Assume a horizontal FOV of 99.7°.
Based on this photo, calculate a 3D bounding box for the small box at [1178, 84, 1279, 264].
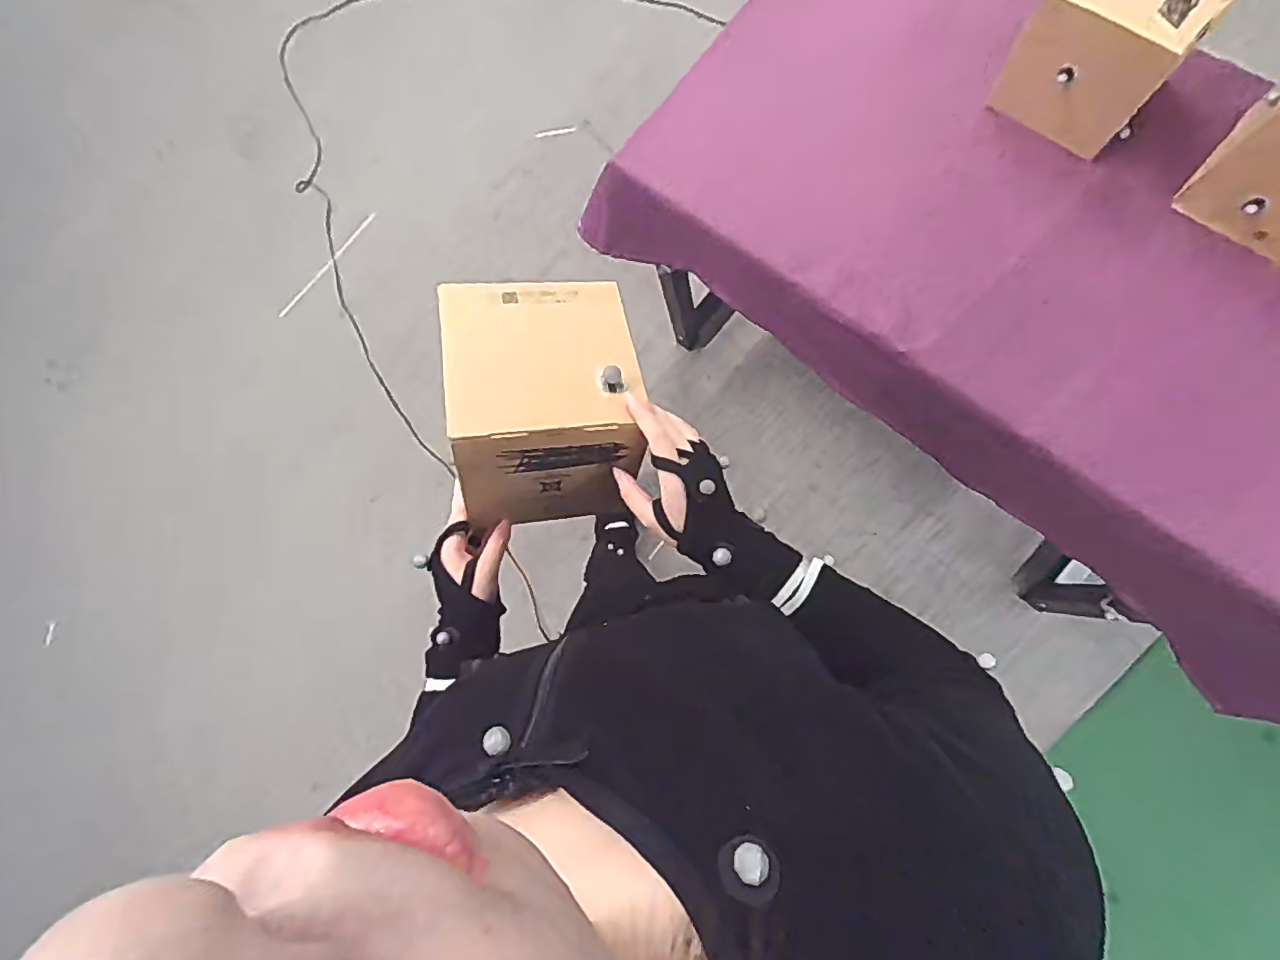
[{"bbox_3d":[0.821,-0.401,0.642,0.168,0.176,0.179,41,91,15],"label":"small box"}]

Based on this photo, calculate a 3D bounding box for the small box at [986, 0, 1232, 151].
[{"bbox_3d":[0.612,-0.579,0.710,0.179,0.176,0.168,43,90,15],"label":"small box"}]
